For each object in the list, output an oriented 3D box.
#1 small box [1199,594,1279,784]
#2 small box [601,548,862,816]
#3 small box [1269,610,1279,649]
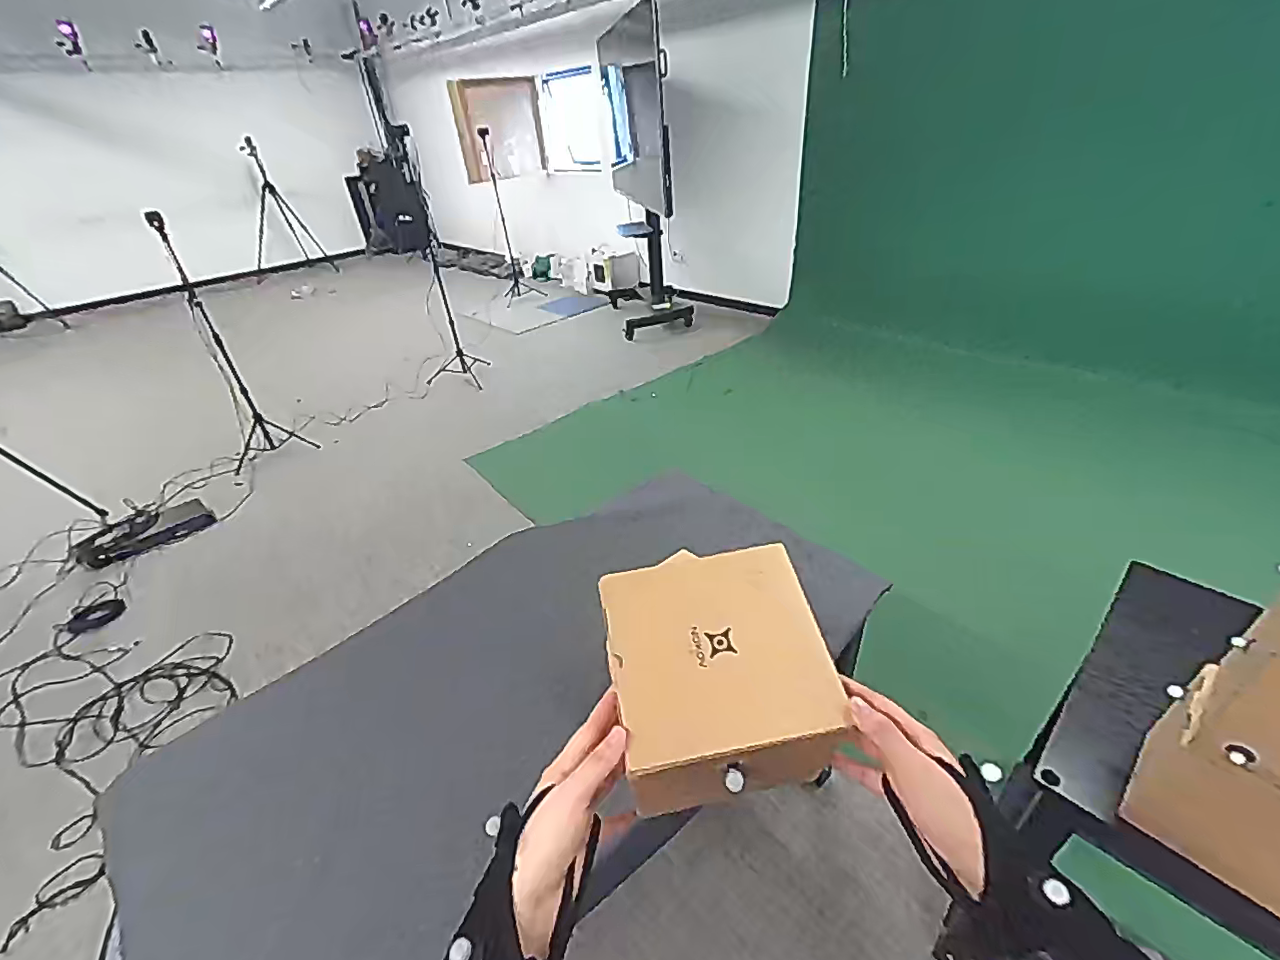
[{"bbox_3d":[0.731,0.228,0.552,0.179,0.176,0.168,-27,41,-30],"label":"small box"},{"bbox_3d":[0.068,0.187,0.494,0.179,0.176,0.168,-11,50,-3],"label":"small box"},{"bbox_3d":[0.713,0.098,0.455,0.168,0.176,0.179,-26,39,-30],"label":"small box"}]
